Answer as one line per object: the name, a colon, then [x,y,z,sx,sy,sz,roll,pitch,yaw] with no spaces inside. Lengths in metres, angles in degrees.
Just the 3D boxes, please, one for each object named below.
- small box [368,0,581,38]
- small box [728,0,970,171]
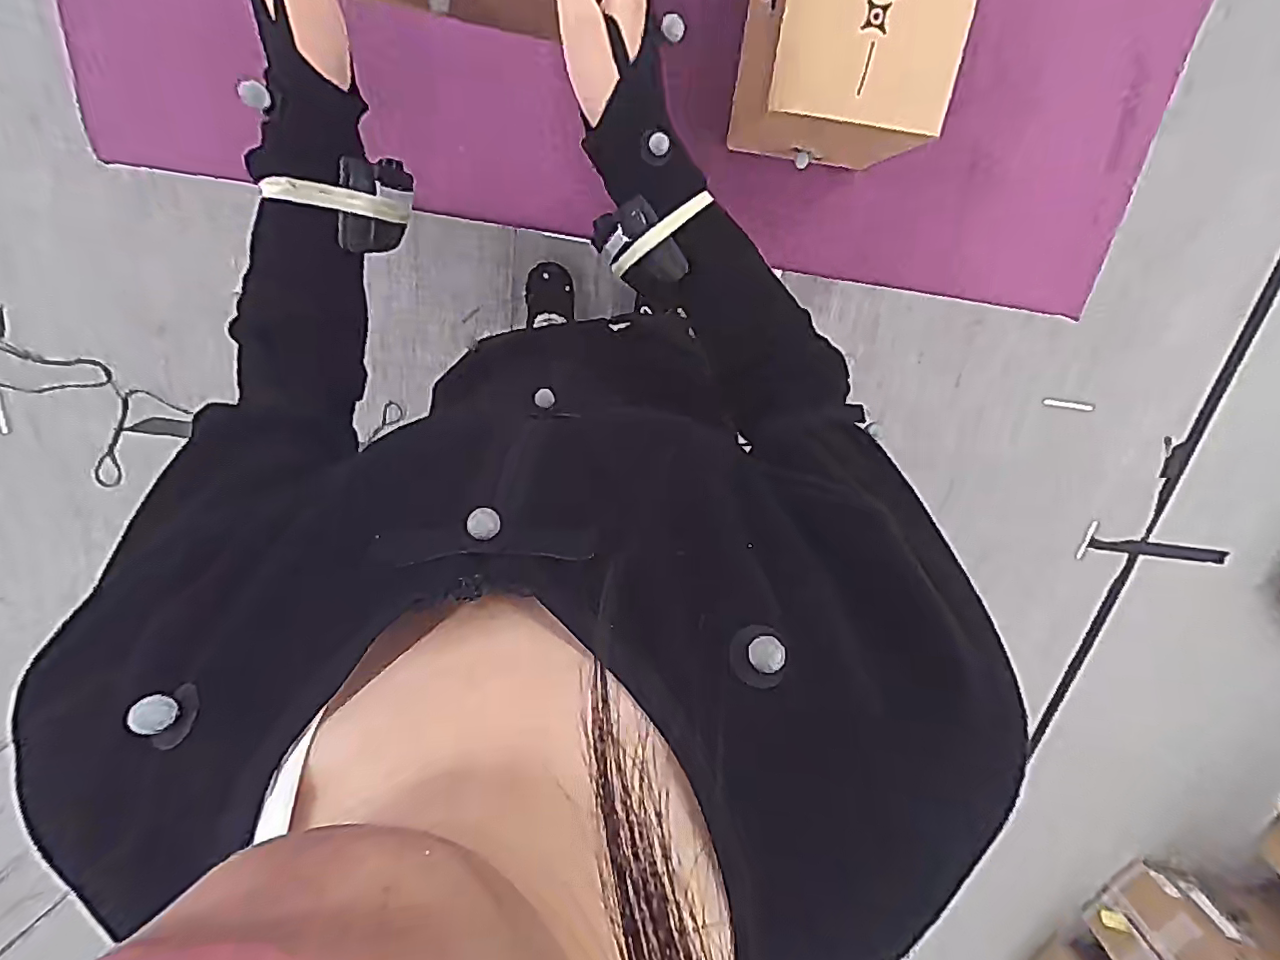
small box: [-0.124,-0.412,0.349,0.179,0.176,0.168,2,121,-14]
small box: [0.194,-0.429,0.535,0.168,0.176,0.179,6,111,-6]
